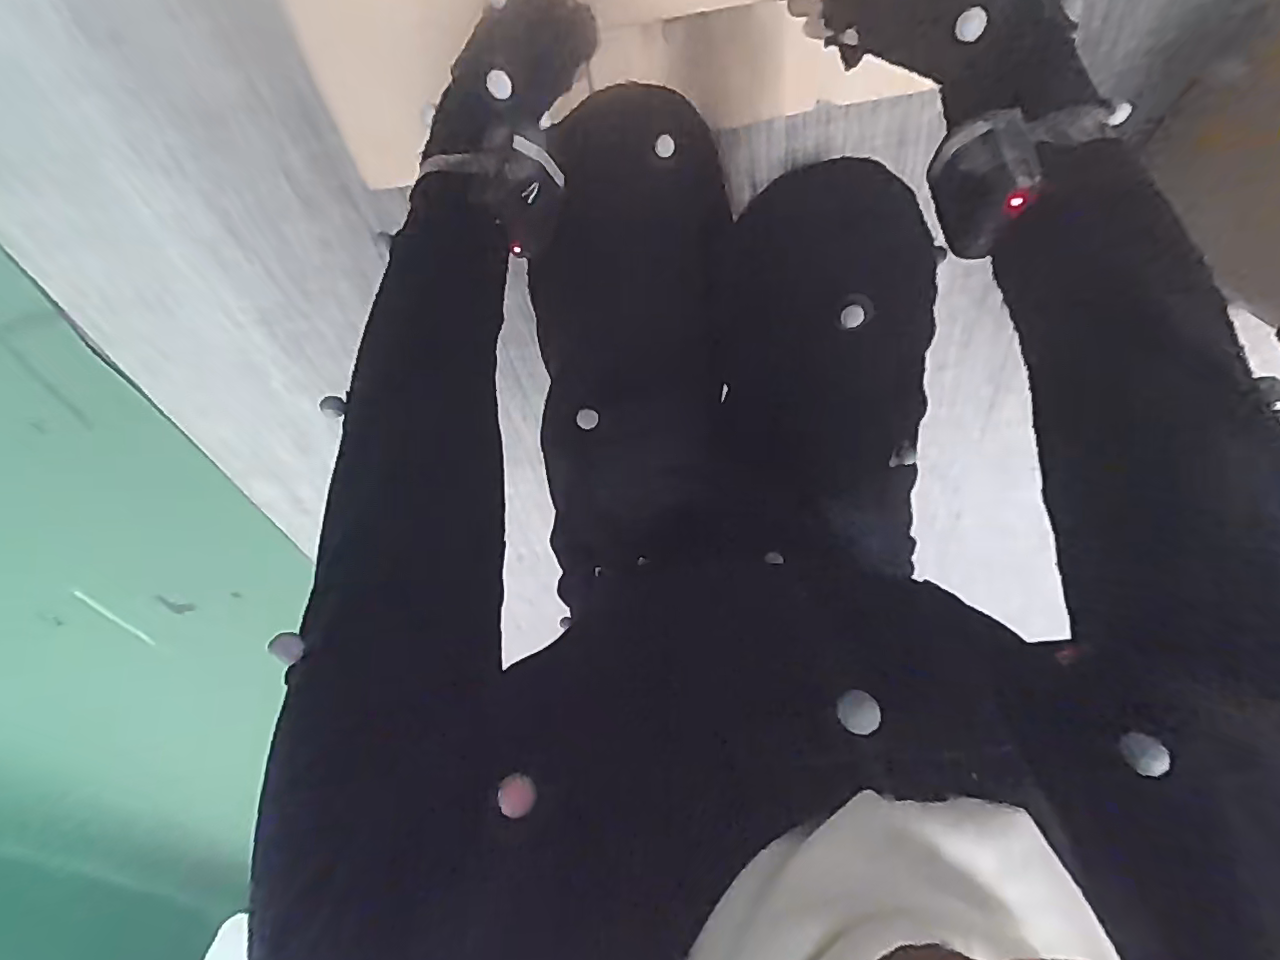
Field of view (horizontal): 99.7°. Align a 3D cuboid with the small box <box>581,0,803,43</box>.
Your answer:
[{"bbox_3d":[0.027,-0.458,0.413,0.168,0.176,0.179,-7,131,5],"label":"small box"}]
